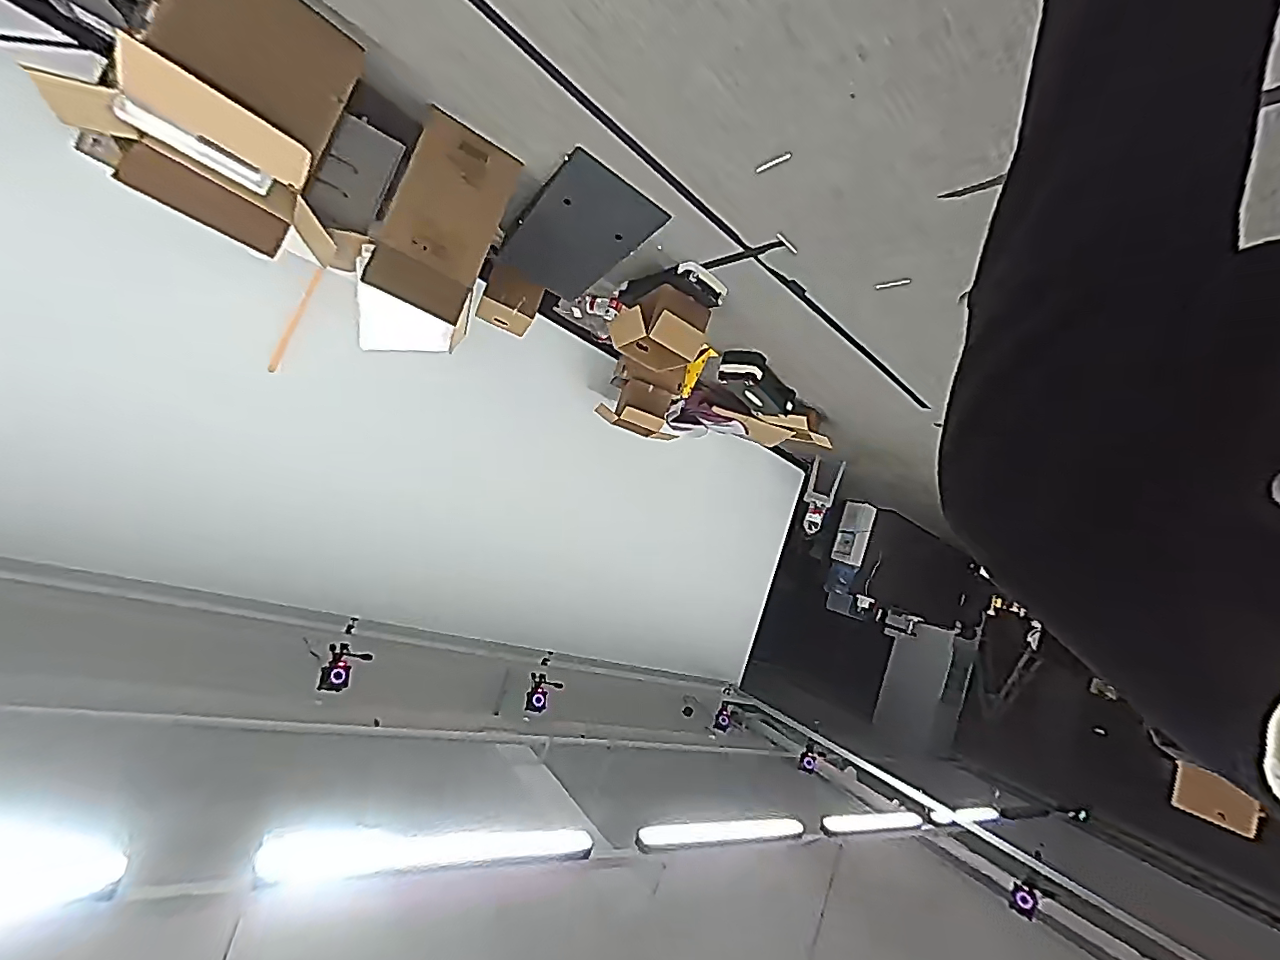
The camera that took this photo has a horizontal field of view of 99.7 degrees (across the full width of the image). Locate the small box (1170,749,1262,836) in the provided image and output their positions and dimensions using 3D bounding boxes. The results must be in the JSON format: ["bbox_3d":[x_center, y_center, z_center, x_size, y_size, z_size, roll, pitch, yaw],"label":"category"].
[{"bbox_3d":[1.745,0.935,1.637,0.179,0.176,0.168,22,172,-37],"label":"small box"}]
